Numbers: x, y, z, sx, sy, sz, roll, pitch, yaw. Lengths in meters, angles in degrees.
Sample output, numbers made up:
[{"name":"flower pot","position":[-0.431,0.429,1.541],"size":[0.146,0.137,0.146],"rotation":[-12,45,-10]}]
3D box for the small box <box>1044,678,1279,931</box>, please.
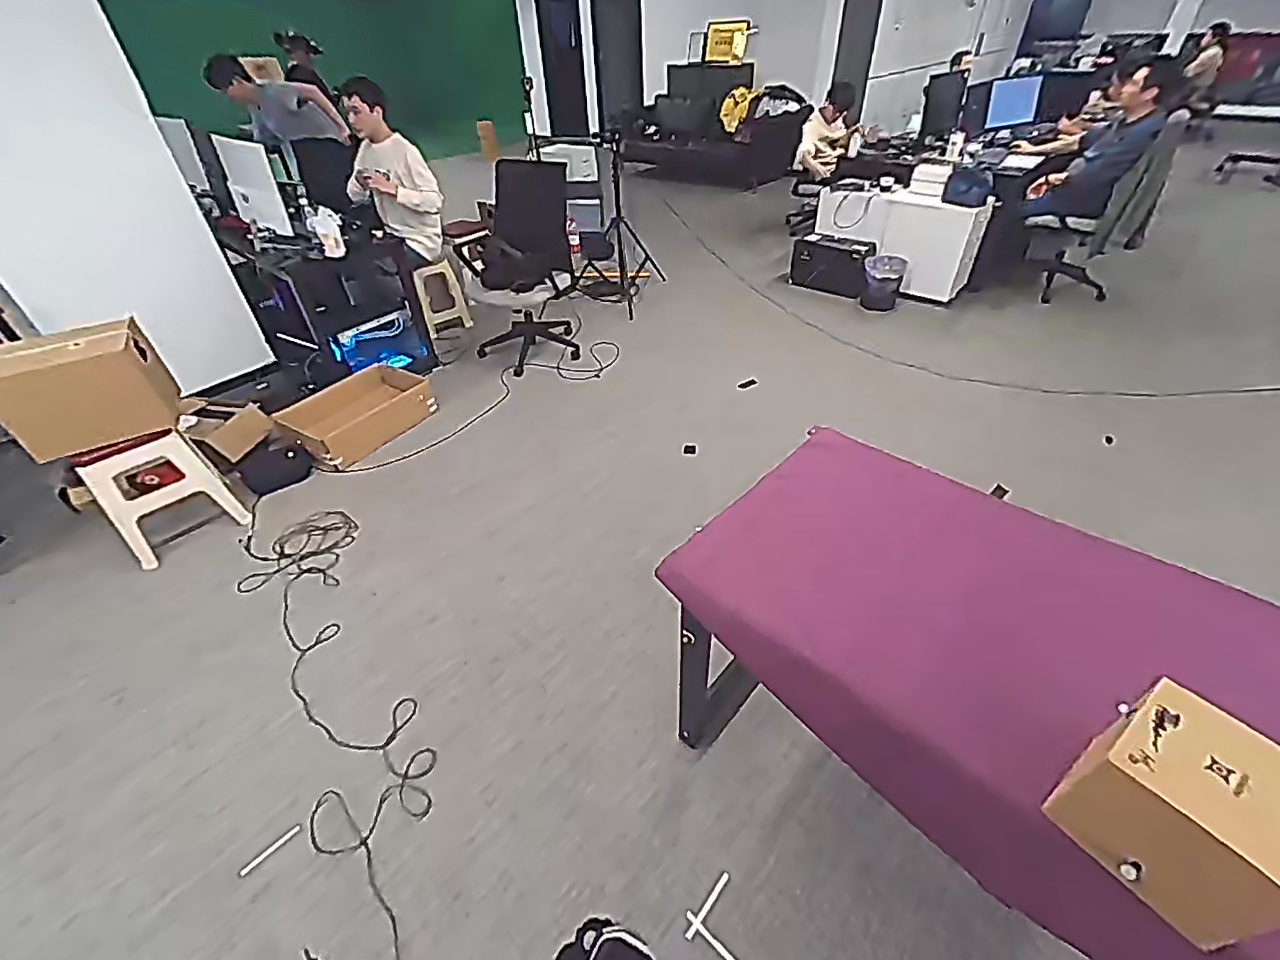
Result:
[{"name":"small box","position":[0.634,0.380,0.633],"size":[0.168,0.176,0.179],"rotation":[-25,45,-25]}]
